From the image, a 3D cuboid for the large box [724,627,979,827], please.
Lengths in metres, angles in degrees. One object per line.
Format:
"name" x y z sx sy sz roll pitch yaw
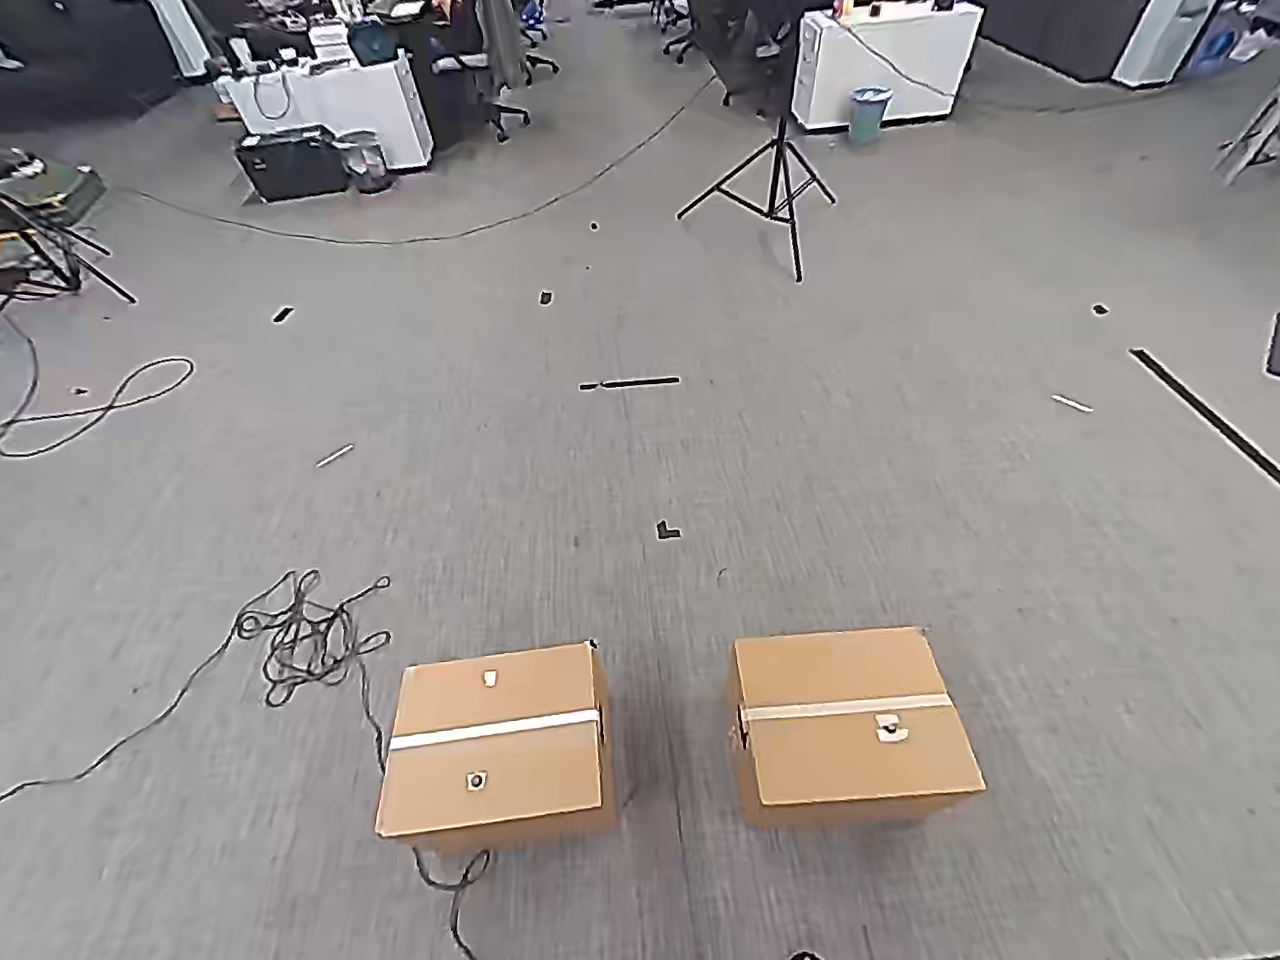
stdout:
"large box" 0.415 0.544 1.184 0.408 0.320 0.320 -3 50 0
